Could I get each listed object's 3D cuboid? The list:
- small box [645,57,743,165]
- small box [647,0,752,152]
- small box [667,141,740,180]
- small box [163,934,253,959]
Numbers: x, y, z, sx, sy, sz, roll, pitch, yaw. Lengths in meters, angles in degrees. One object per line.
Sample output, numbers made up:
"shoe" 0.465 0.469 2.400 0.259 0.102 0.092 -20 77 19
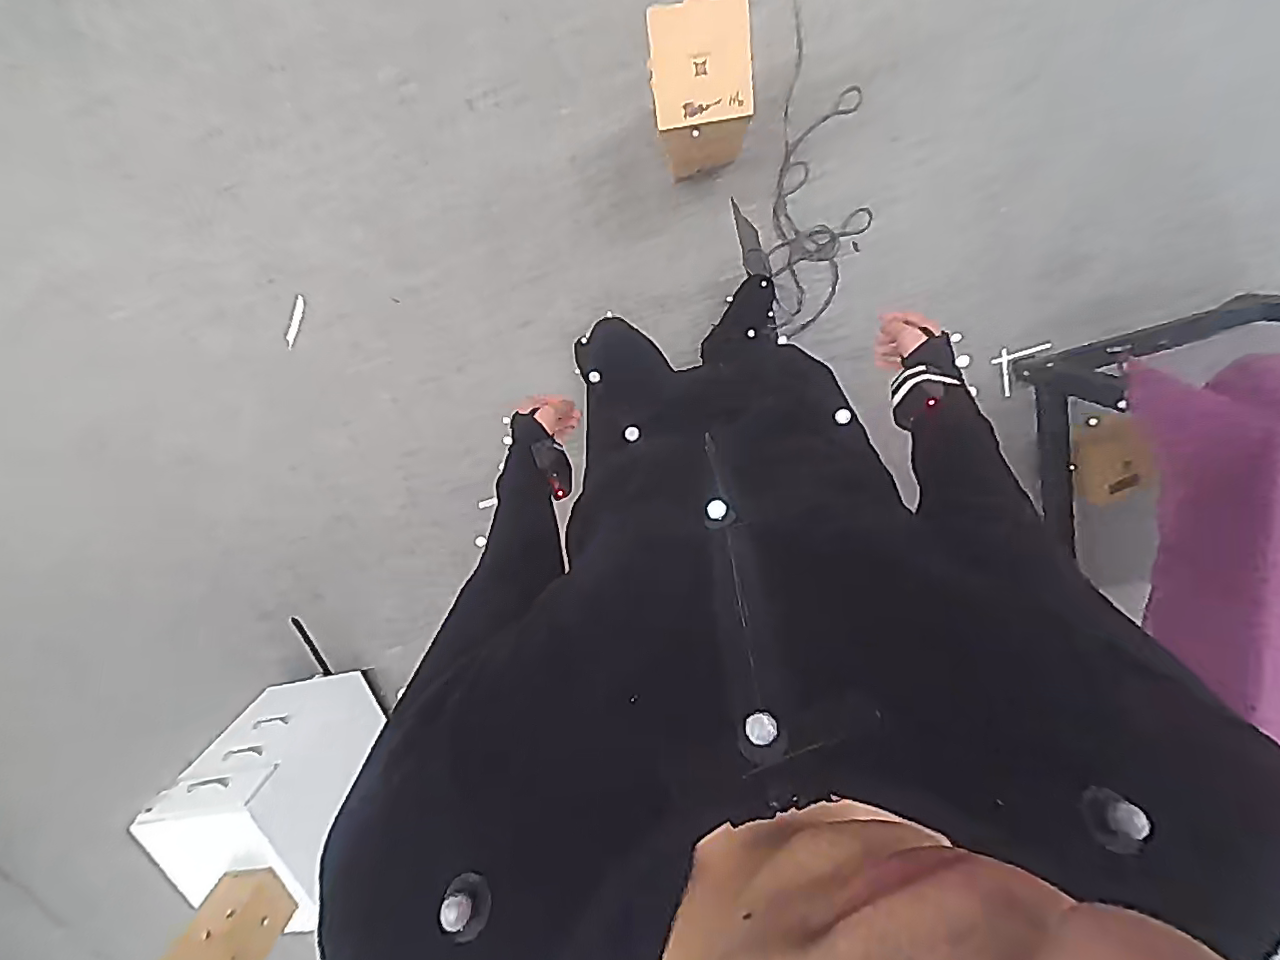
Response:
"small box" 0.119 -0.776 1.119 0.179 0.176 0.168 -12 109 9
"small box" 0.105 -0.716 0.966 0.168 0.176 0.179 -5 109 7
"small box" 0.131 -0.834 1.270 0.168 0.176 0.179 -14 109 10
"small box" -1.126 1.292 1.367 0.179 0.176 0.168 -11 111 9
